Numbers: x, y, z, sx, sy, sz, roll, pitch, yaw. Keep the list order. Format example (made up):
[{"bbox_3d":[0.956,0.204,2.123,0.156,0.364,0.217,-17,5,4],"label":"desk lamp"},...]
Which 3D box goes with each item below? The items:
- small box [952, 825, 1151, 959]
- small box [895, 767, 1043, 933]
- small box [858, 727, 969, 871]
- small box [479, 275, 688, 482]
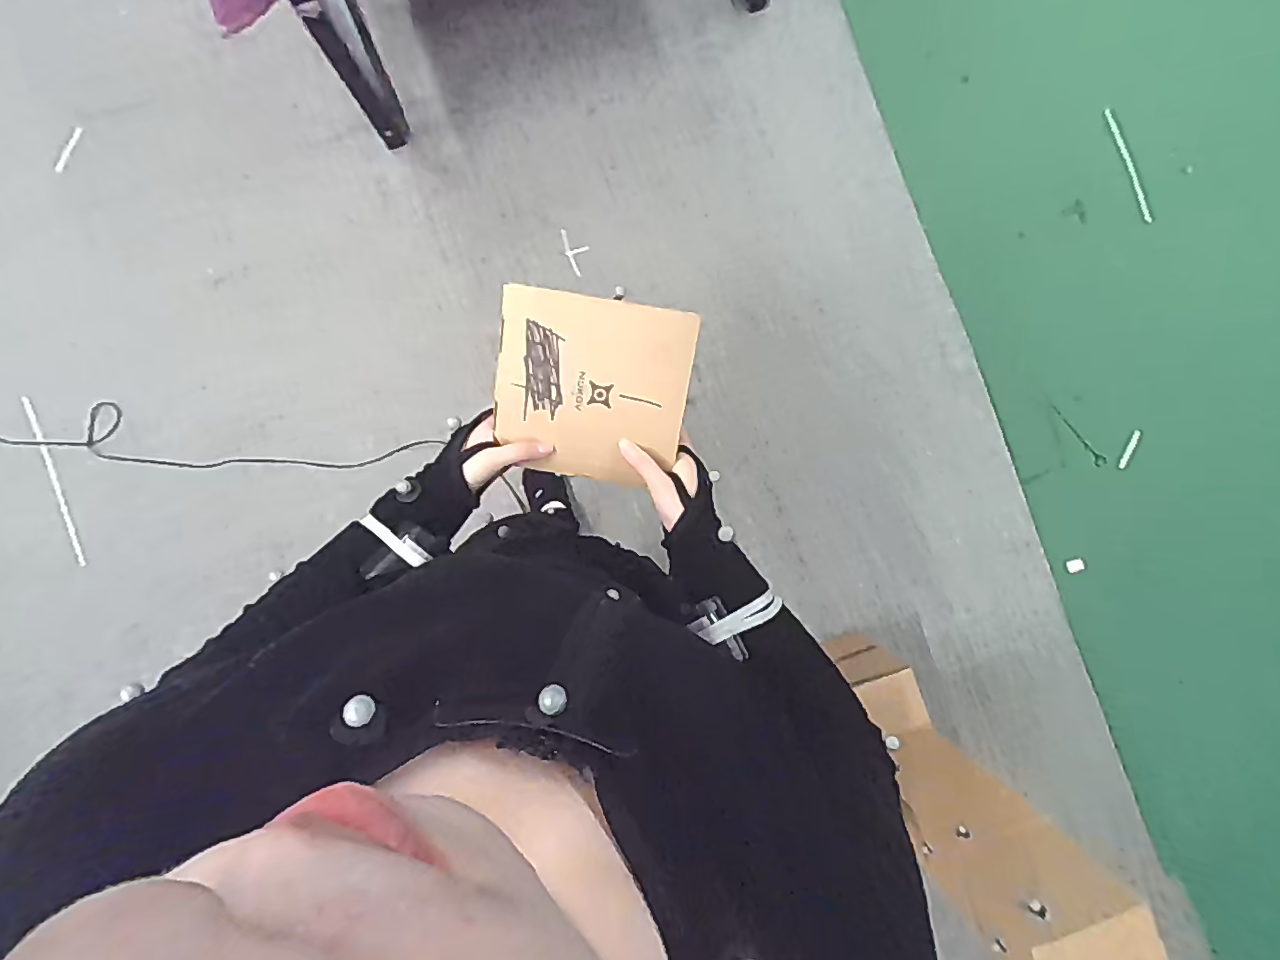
[{"bbox_3d":[0.602,0.666,0.807,0.179,0.176,0.168,-19,93,-3],"label":"small box"},{"bbox_3d":[0.600,0.656,0.972,0.179,0.176,0.168,-21,92,-2],"label":"small box"},{"bbox_3d":[0.583,0.656,1.134,0.179,0.176,0.168,-21,92,-4],"label":"small box"},{"bbox_3d":[-0.053,-0.110,0.570,0.179,0.176,0.168,9,107,-2],"label":"small box"}]
